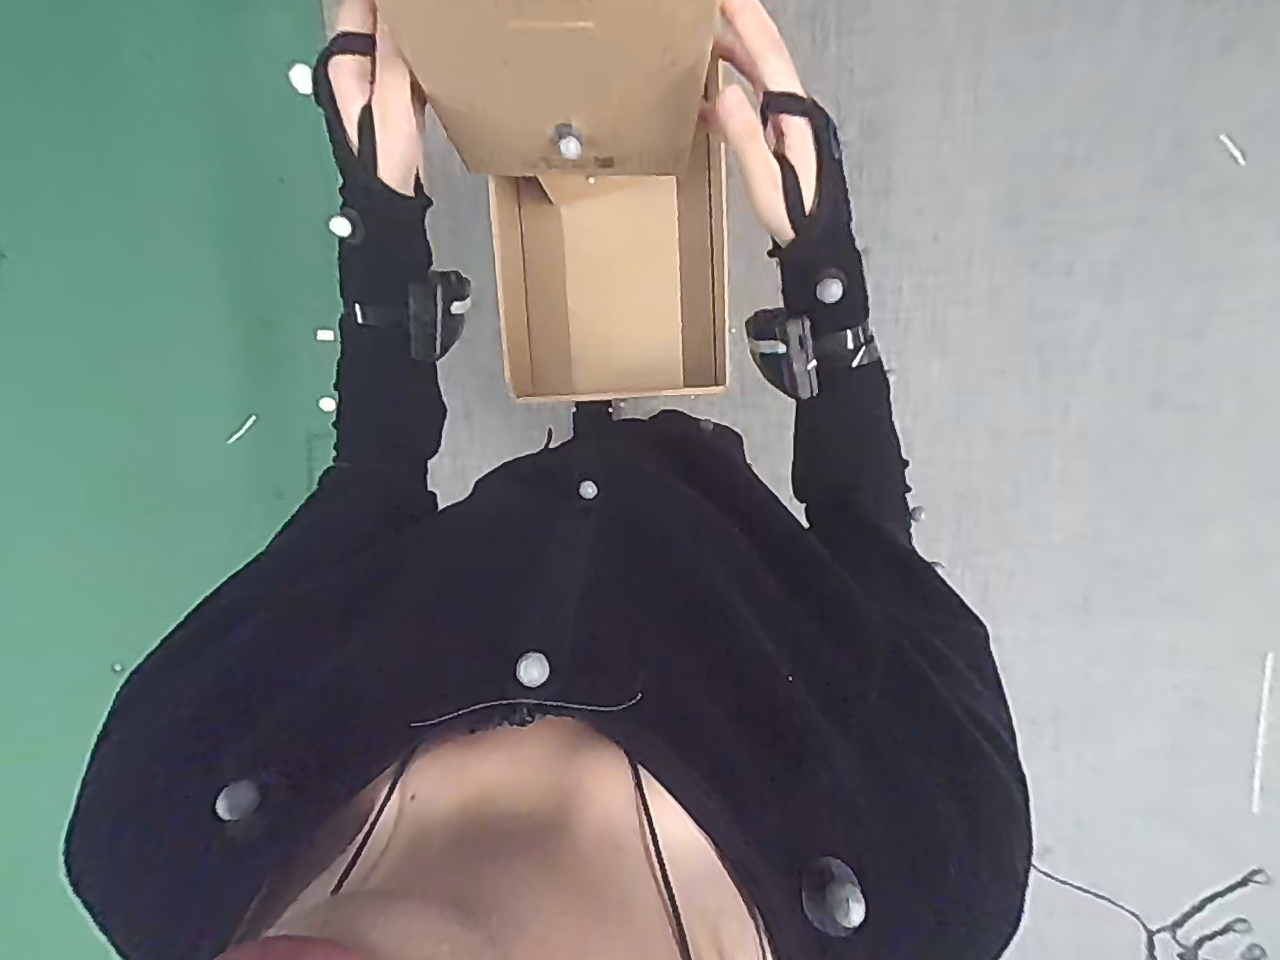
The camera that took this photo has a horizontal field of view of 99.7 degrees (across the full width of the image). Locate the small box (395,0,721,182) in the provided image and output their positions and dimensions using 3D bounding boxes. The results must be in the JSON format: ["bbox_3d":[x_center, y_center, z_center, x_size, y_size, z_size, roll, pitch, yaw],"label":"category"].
[{"bbox_3d":[-0.043,-0.315,0.328,0.168,0.176,0.179,1,93,-1],"label":"small box"}]
